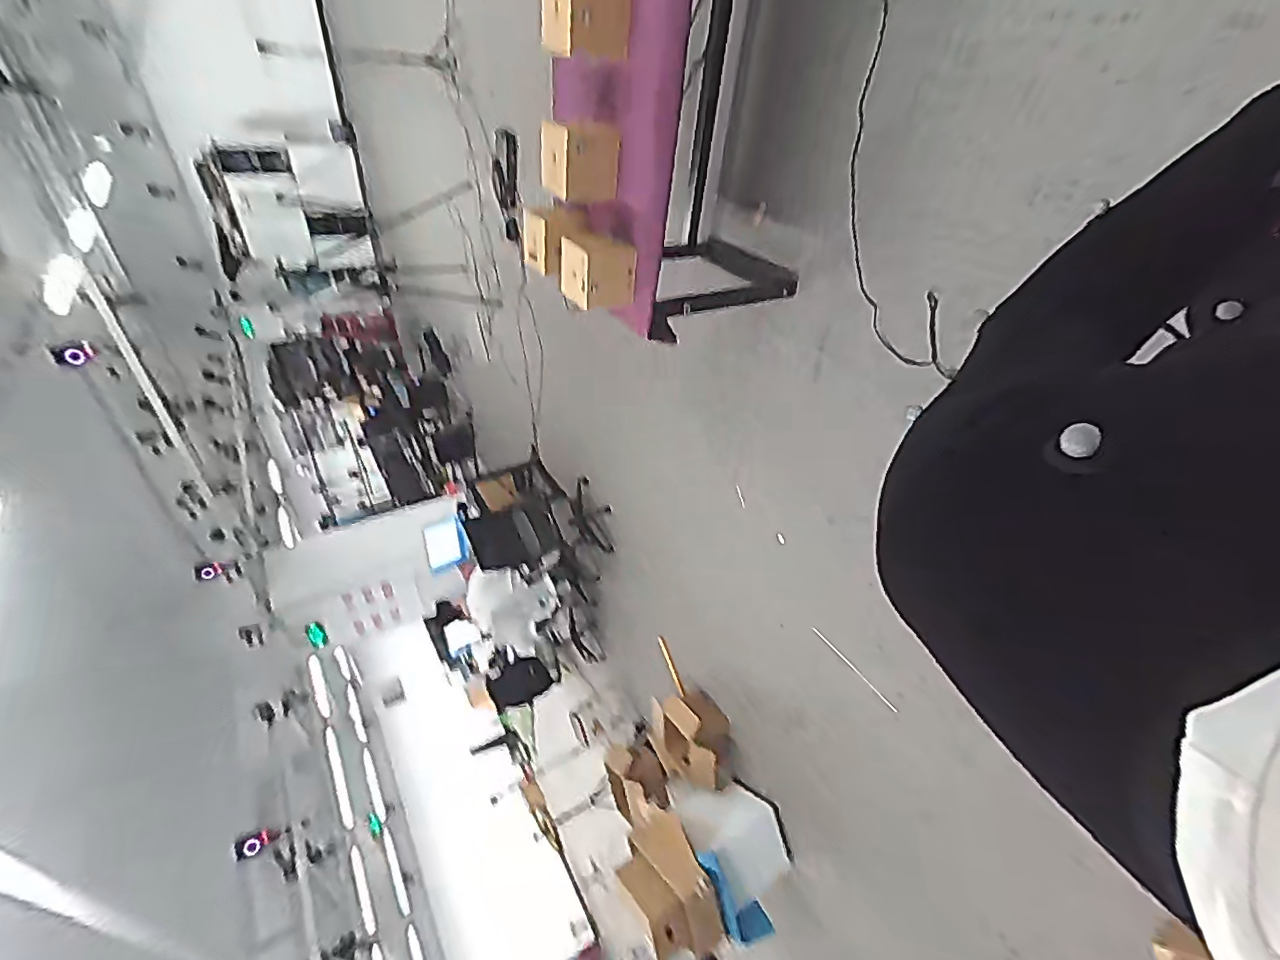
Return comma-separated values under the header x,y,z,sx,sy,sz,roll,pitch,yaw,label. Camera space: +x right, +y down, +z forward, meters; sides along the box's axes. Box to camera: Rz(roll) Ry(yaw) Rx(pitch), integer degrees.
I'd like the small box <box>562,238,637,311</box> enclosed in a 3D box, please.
x,y,z,sx,sy,sz,roll,pitch,yaw,label
-0.127,-0.634,1.658,0.179,0.176,0.168,47,144,40,small box

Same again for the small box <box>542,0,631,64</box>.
x,y,z,sx,sy,sz,roll,pitch,yaw,label
-0.133,-1.171,1.359,0.168,0.176,0.179,47,145,37,small box

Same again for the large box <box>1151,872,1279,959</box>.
x,y,z,sx,sy,sz,roll,pitch,yaw,label
1.516,1.170,1.209,0.320,0.320,0.408,65,150,10,large box

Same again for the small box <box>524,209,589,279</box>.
x,y,z,sx,sy,sz,roll,pitch,yaw,label
-0.283,-0.804,1.836,0.168,0.176,0.179,47,142,37,small box

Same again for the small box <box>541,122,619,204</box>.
x,y,z,sx,sy,sz,roll,pitch,yaw,label
-0.174,-0.923,1.572,0.168,0.176,0.179,48,144,38,small box
